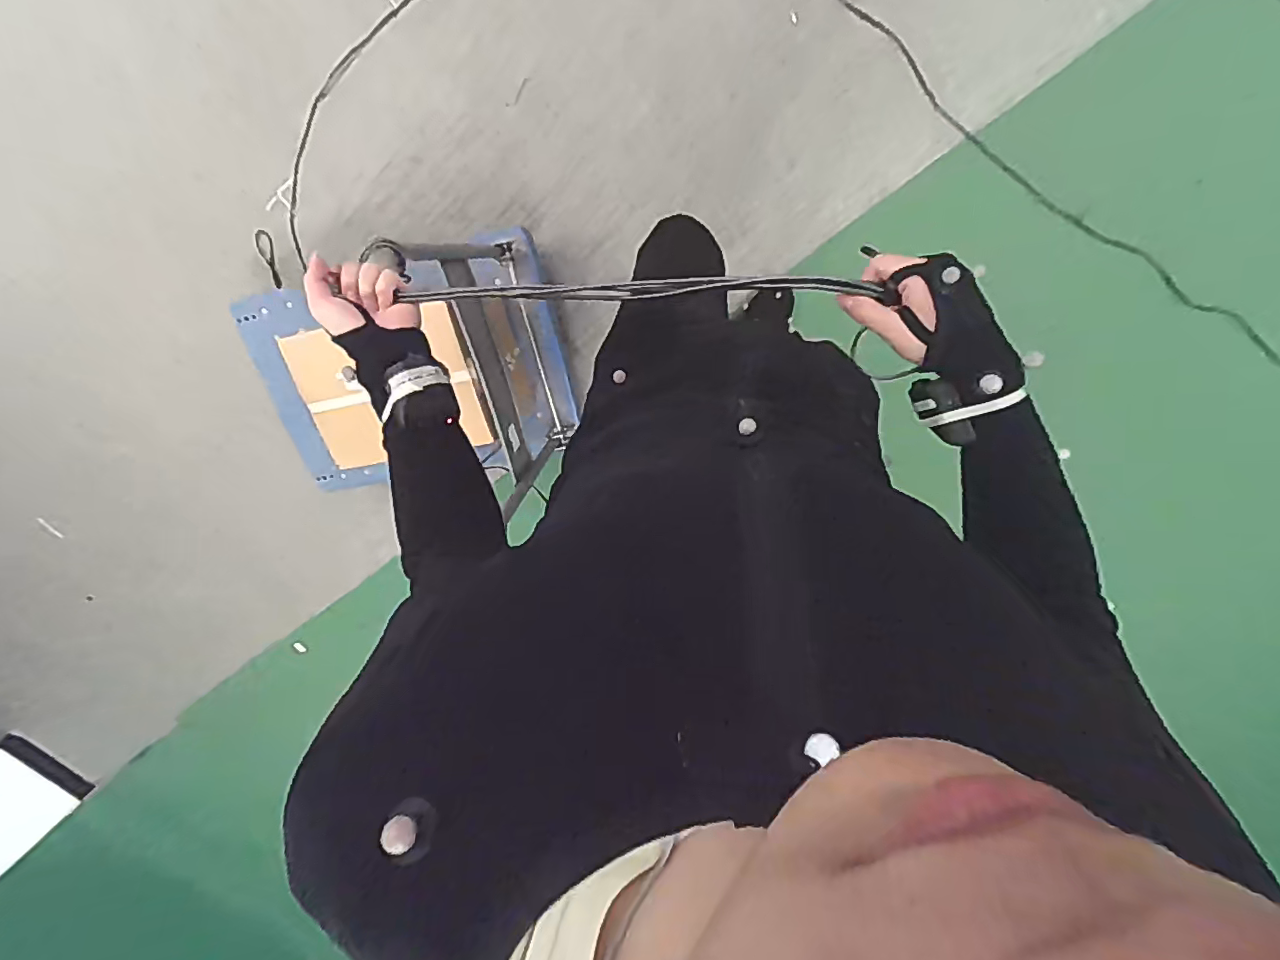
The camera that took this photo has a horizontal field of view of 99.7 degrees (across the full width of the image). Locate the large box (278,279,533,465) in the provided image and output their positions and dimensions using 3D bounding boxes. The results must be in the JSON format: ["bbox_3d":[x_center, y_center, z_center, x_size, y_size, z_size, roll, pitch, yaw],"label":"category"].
[{"bbox_3d":[-0.524,-0.266,1.293,0.408,0.320,0.320,-9,113,12],"label":"large box"}]
